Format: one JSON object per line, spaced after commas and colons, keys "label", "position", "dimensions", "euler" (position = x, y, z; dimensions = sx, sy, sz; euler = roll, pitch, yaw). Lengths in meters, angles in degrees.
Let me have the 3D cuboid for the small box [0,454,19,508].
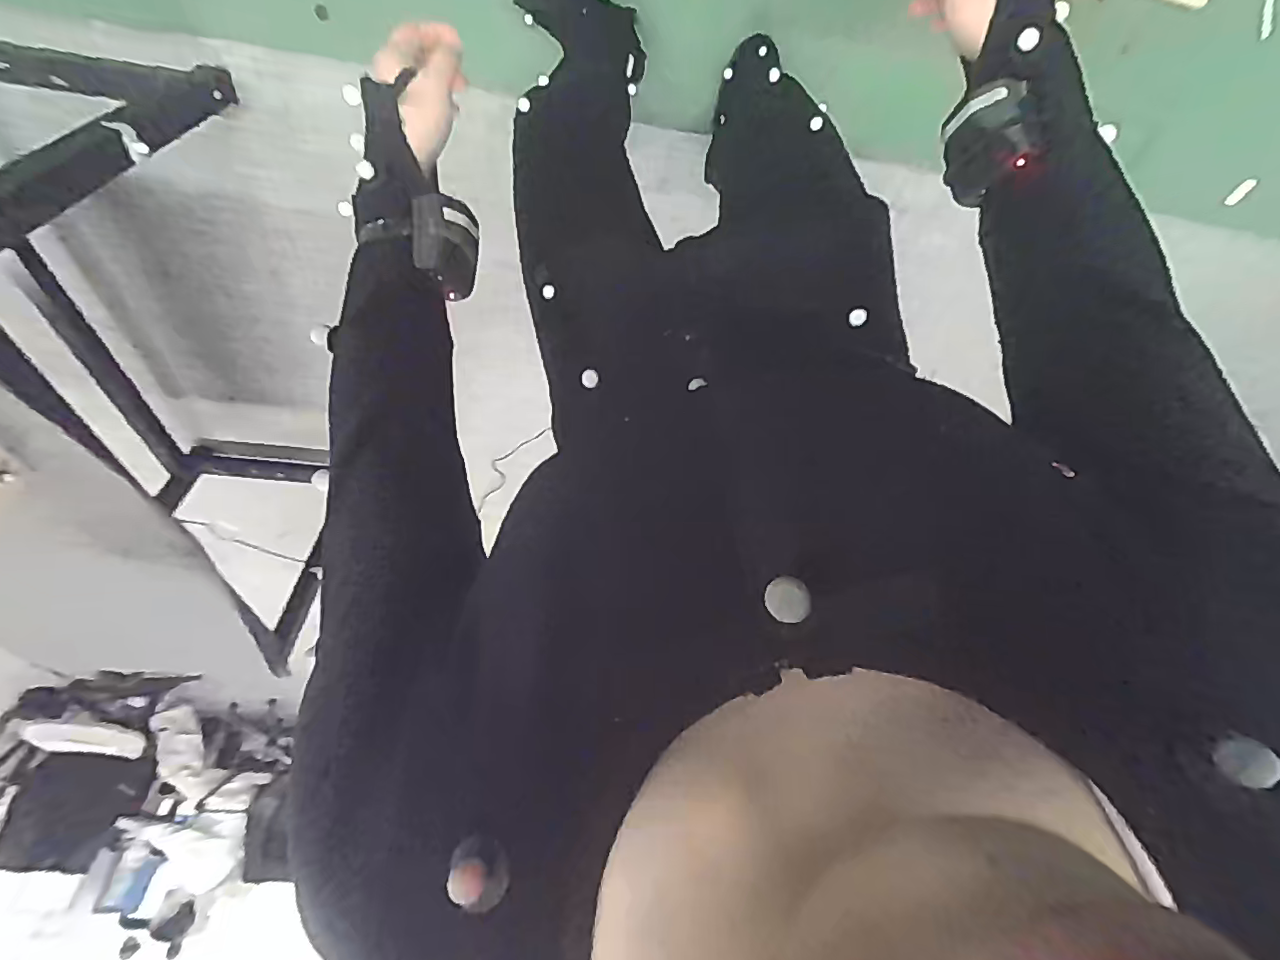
{"label": "small box", "position": [-0.963, -0.001, 0.674], "dimensions": [0.179, 0.176, 0.168], "euler": [8, 140, -4]}
